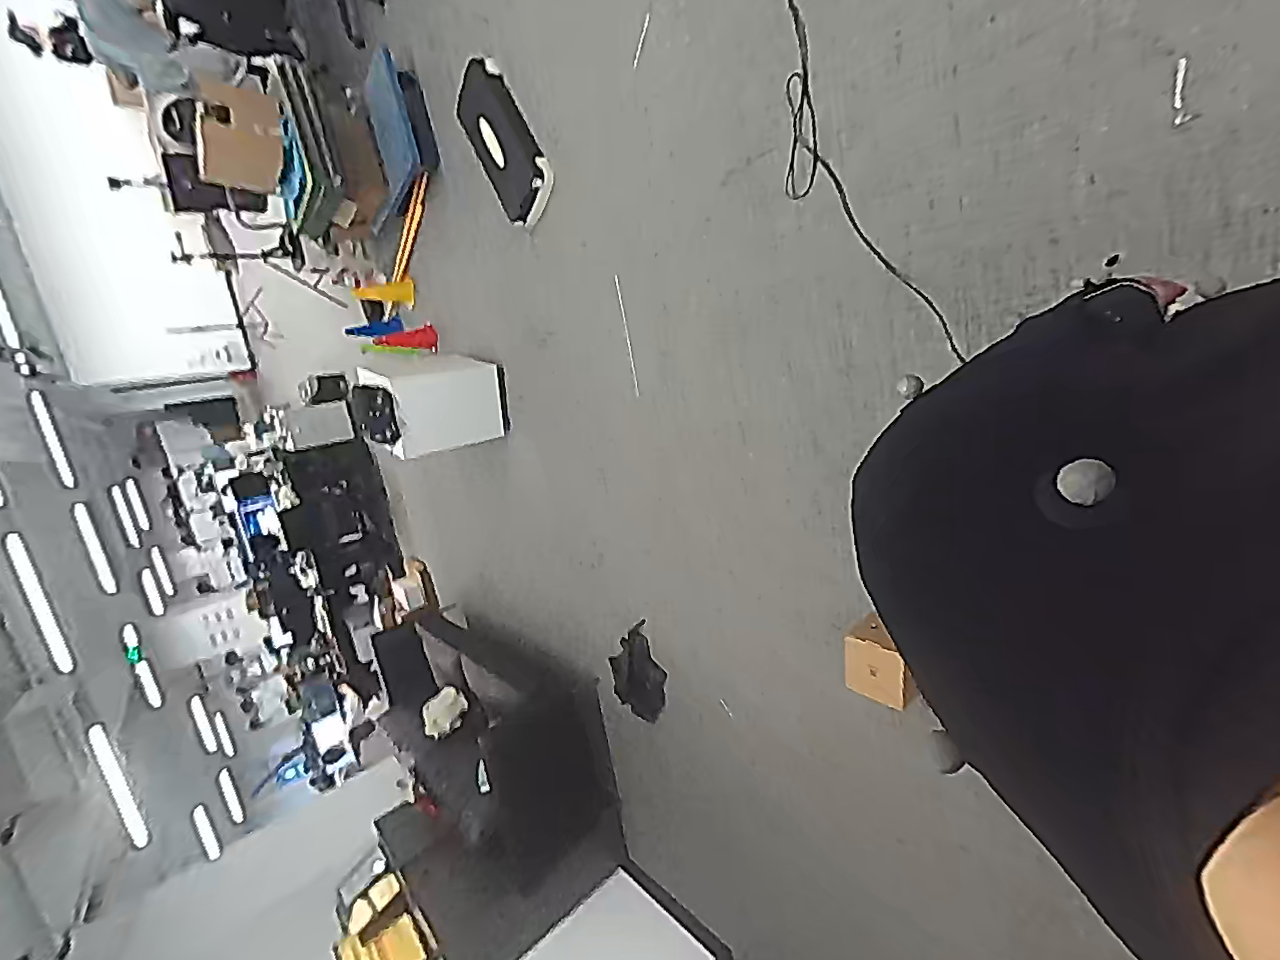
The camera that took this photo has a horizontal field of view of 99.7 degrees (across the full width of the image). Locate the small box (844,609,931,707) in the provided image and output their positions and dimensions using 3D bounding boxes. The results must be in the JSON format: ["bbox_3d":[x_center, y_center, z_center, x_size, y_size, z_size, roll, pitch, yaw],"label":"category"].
[{"bbox_3d":[0.688,0.484,1.503,0.168,0.176,0.179,11,115,49],"label":"small box"}]
